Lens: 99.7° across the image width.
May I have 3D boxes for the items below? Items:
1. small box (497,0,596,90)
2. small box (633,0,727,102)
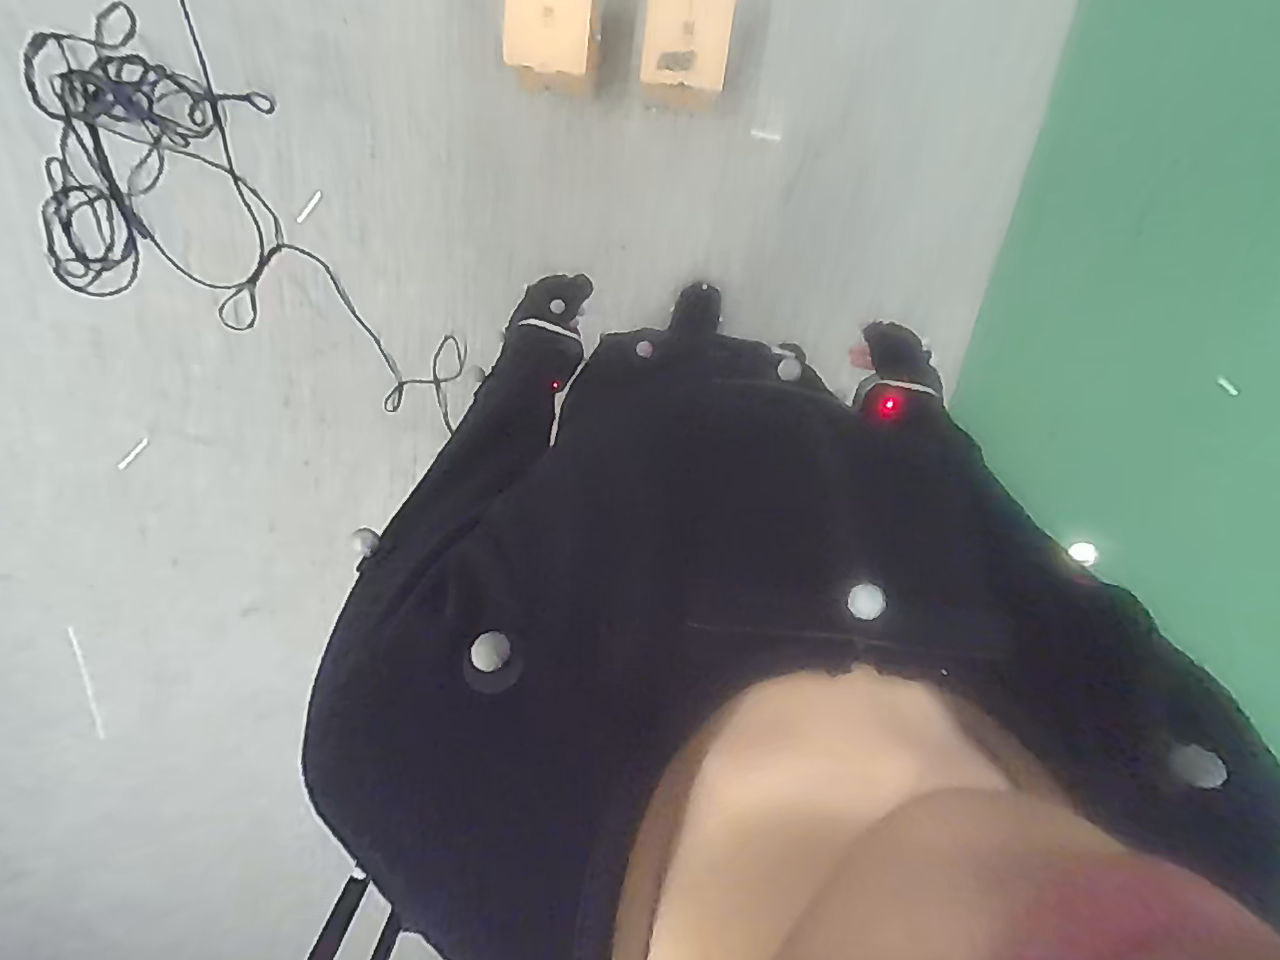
[{"bbox_3d":[-0.184,-0.935,1.099,0.168,0.176,0.179,8,110,-1],"label":"small box"},{"bbox_3d":[0.080,-0.903,1.103,0.168,0.176,0.179,7,109,-1],"label":"small box"}]
